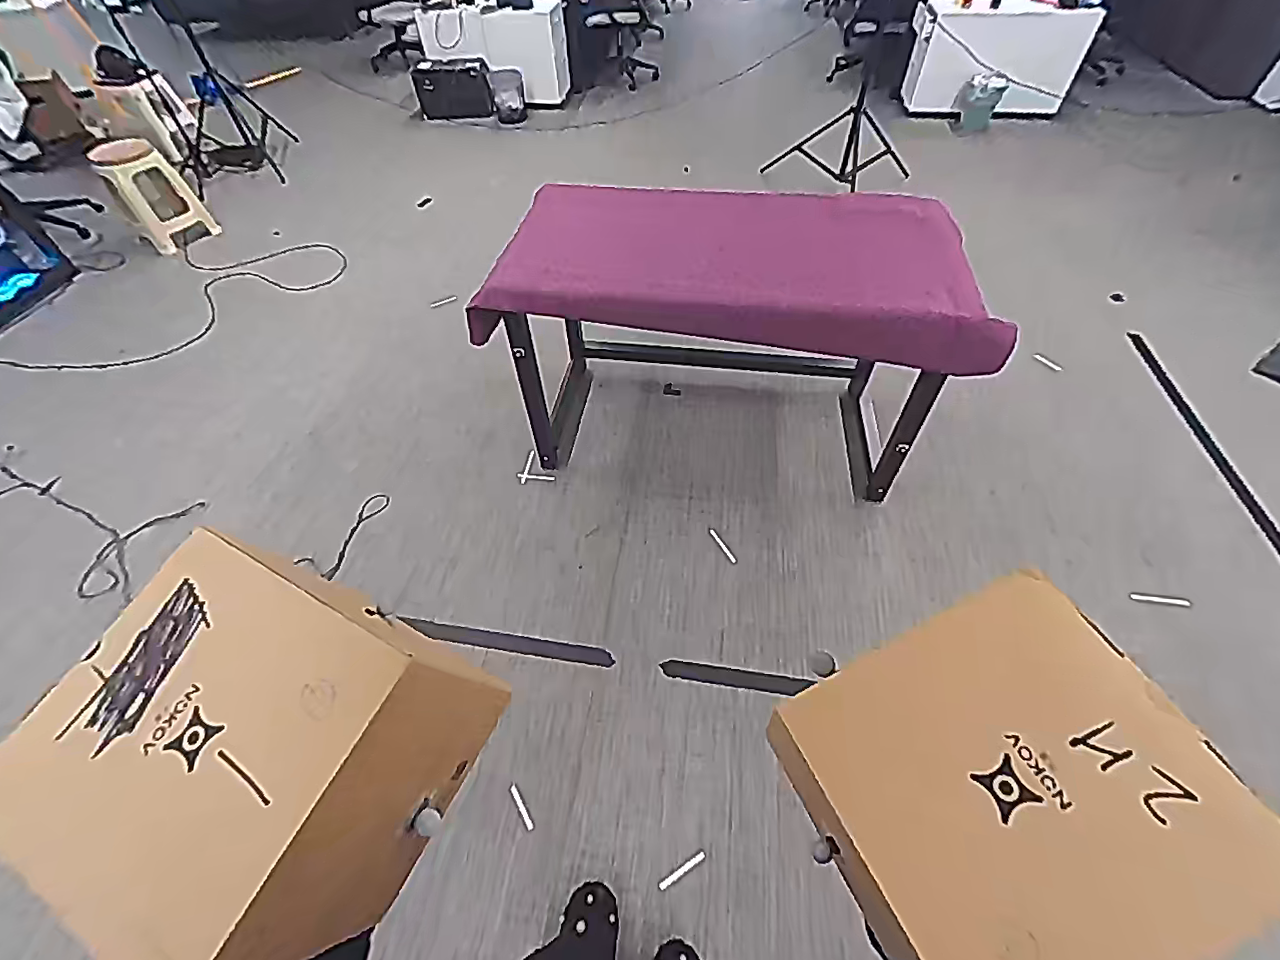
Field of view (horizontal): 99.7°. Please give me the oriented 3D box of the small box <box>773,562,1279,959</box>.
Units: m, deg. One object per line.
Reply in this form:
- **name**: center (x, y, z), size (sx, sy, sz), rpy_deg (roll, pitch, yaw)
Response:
- **small box**: center (0.199, 0.185, 0.336), size (0.179, 0.176, 0.168), rpy_deg (-27, 60, -6)

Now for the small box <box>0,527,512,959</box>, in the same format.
- **small box**: center (-0.215, 0.161, 0.347), size (0.179, 0.176, 0.168), rpy_deg (23, 68, 17)
